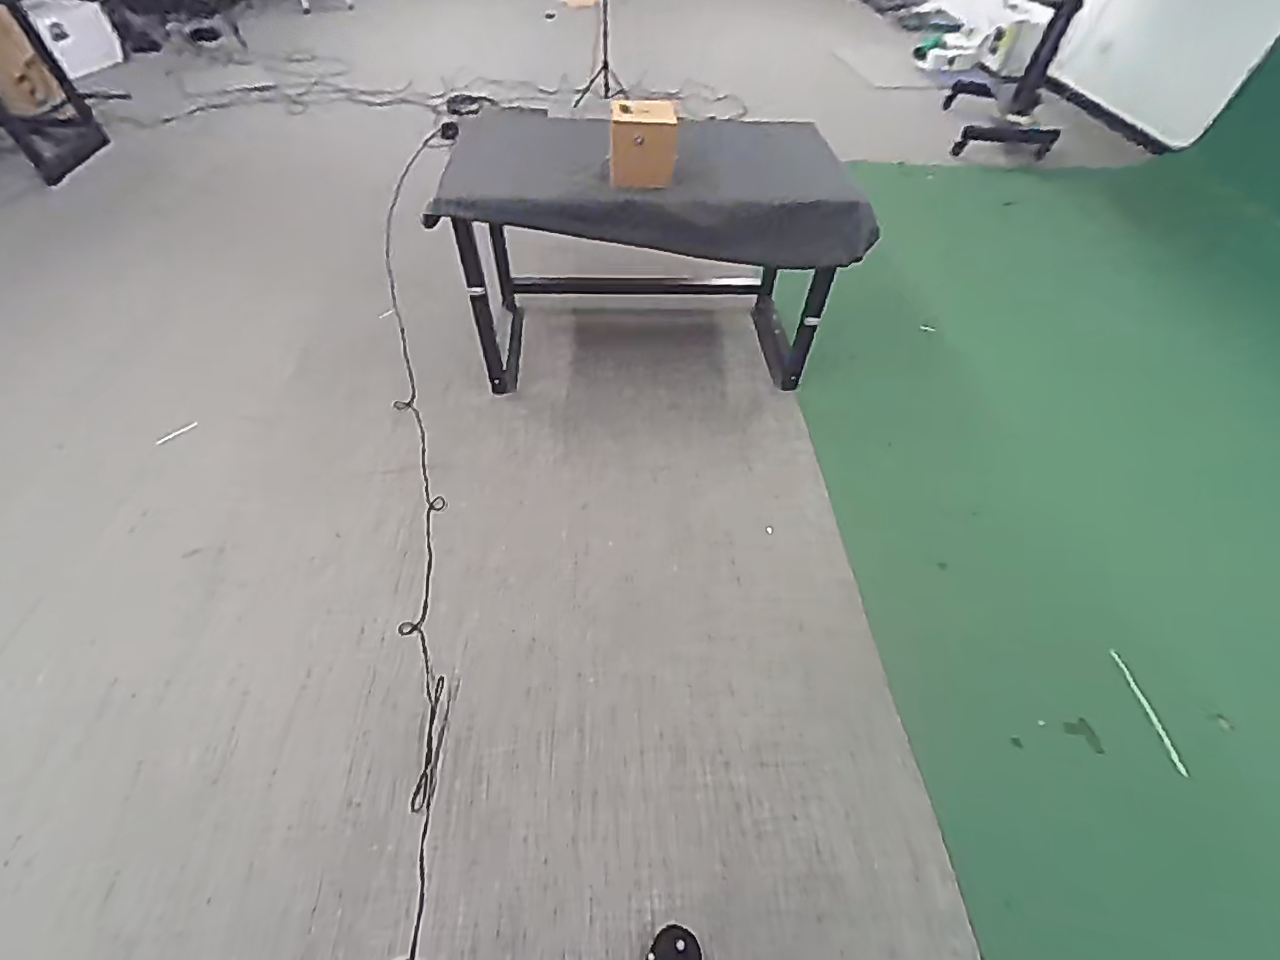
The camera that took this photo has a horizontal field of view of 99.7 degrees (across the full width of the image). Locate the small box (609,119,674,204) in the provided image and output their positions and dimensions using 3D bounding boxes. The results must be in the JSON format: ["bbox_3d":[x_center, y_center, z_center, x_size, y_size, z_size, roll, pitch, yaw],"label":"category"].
[{"bbox_3d":[0.001,-0.917,1.559,0.179,0.176,0.168,0,51,-4],"label":"small box"}]
